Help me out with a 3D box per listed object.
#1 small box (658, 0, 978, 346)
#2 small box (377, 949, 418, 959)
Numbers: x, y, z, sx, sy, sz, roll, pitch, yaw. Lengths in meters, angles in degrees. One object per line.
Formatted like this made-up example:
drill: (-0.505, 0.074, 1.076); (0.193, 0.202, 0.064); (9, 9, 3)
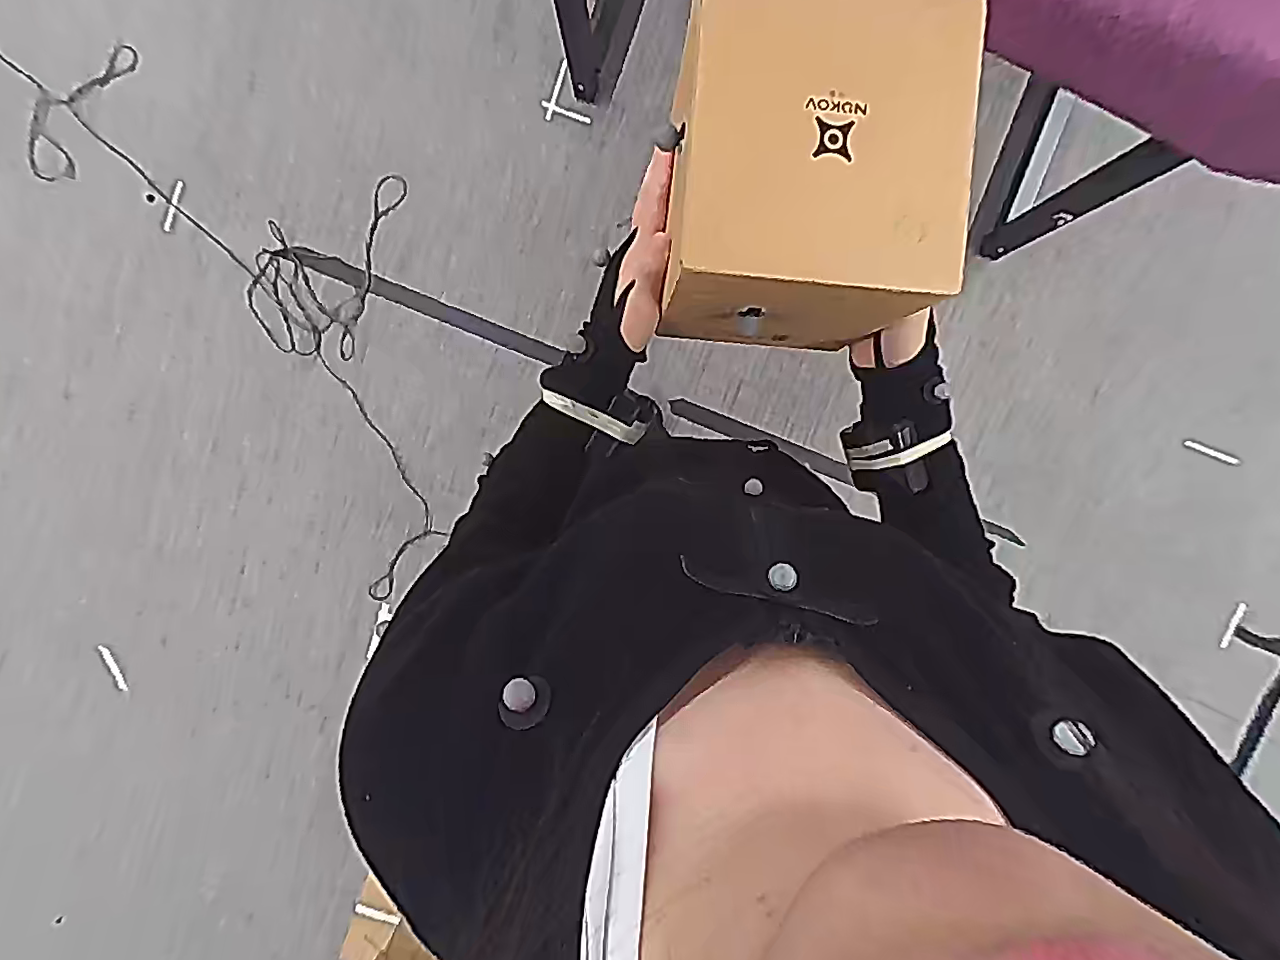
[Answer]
small box: (0.105, -0.204, 0.393); (0.168, 0.176, 0.179); (4, 91, -4)
small box: (-0.488, 1.088, 1.062); (0.168, 0.176, 0.179); (17, 96, 0)
